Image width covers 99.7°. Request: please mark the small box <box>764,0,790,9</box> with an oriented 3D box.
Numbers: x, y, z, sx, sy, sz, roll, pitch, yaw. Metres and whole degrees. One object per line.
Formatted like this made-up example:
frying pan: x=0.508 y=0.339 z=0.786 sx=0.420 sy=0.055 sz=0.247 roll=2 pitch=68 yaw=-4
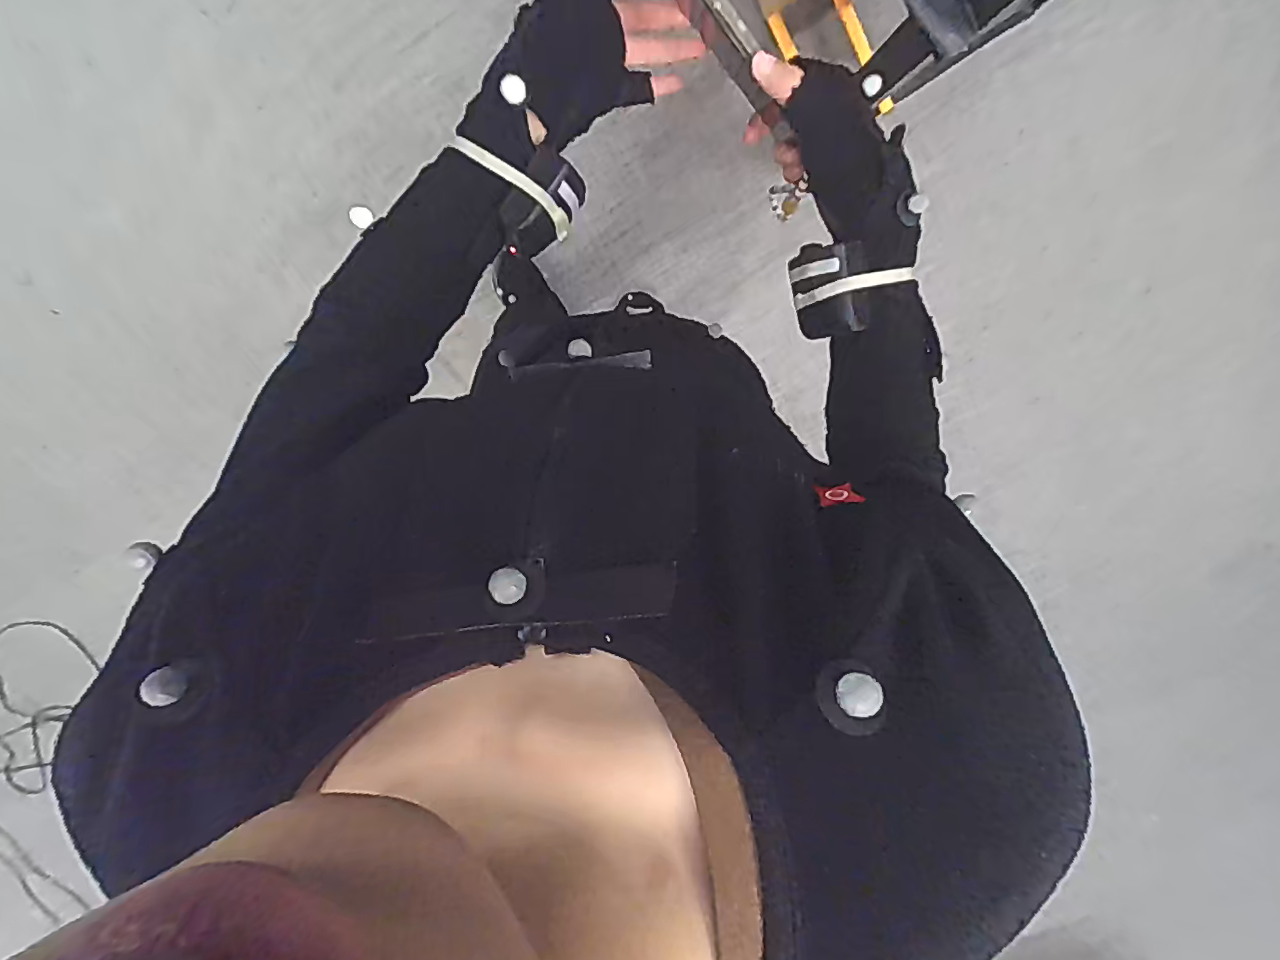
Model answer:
small box: x=0.286 y=-0.992 z=0.949 sx=0.179 sy=0.176 sz=0.168 roll=-26 pitch=107 yaw=11
